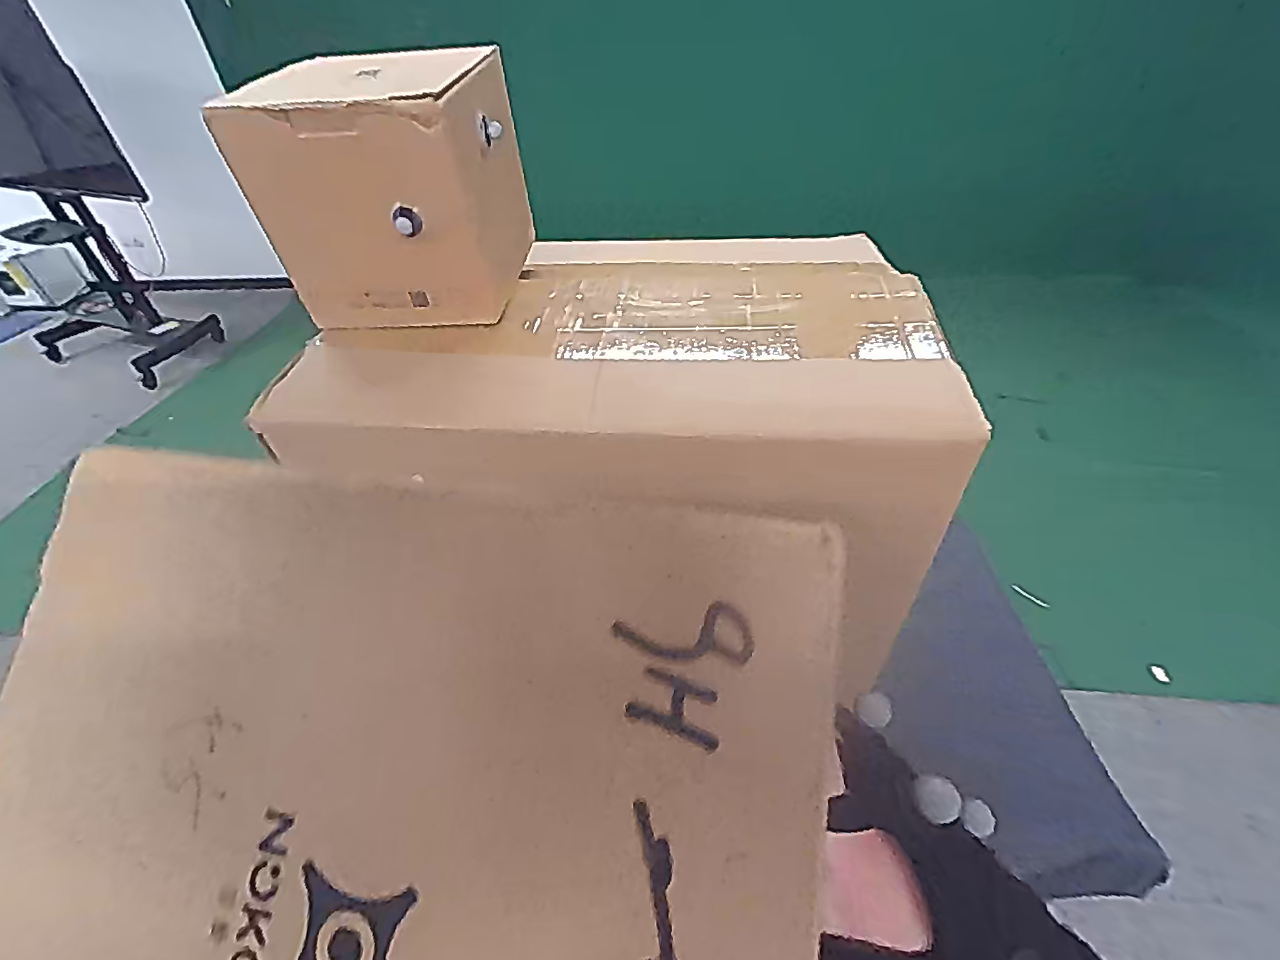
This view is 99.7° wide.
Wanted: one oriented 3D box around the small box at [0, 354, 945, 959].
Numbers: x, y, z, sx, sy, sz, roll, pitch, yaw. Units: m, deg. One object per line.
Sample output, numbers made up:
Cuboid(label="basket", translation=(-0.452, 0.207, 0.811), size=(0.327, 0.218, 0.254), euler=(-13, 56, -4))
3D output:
Cuboid(label="small box", translation=(-0.034, 0.078, 0.164), size=(0.179, 0.176, 0.168), euler=(7, 79, 11))

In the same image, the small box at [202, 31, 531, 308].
Cuboid(label="small box", translation=(-0.197, -0.259, 0.459), size=(0.168, 0.176, 0.179), euler=(1, 45, 3))
